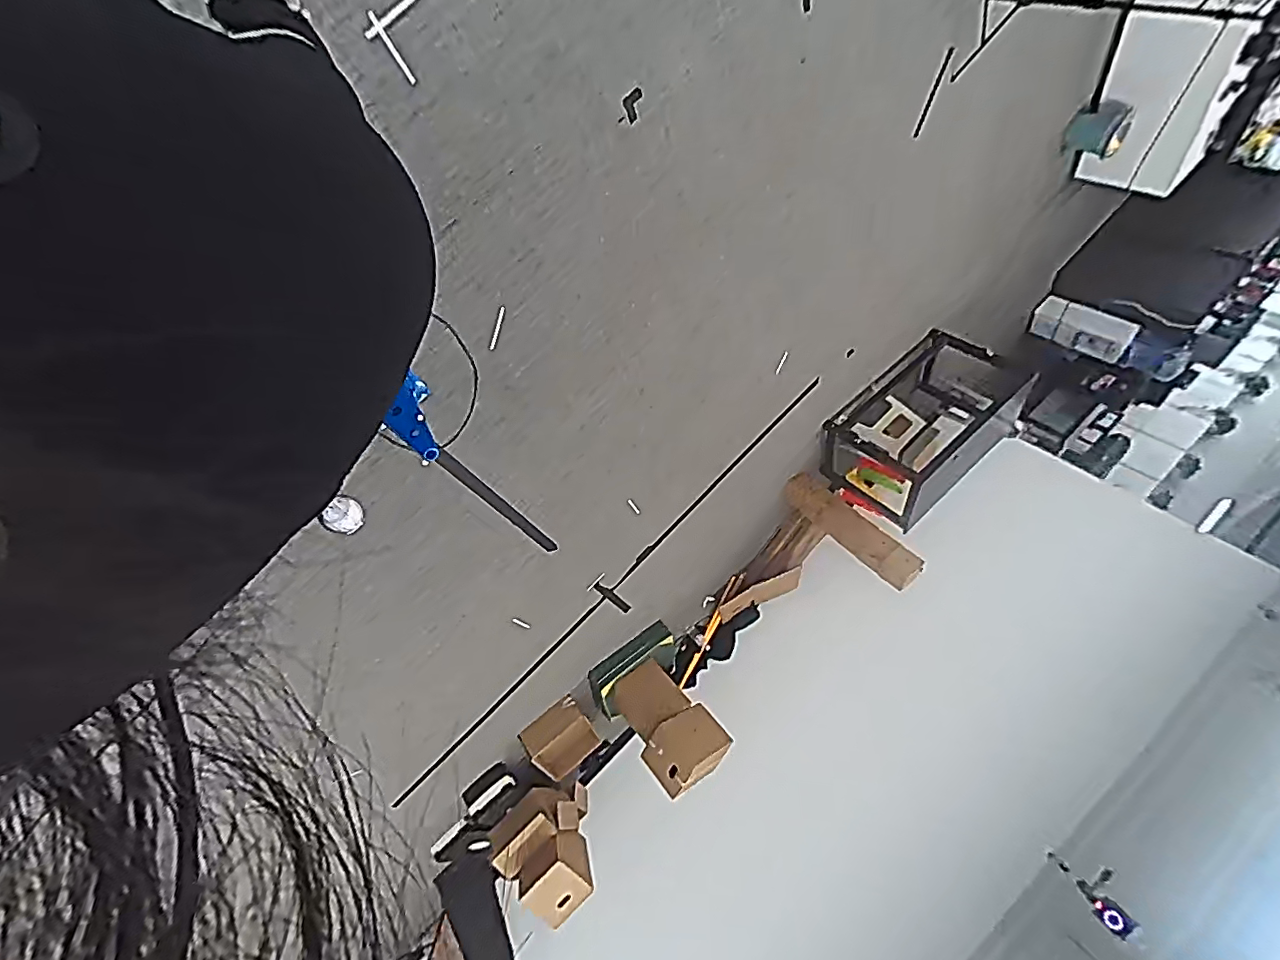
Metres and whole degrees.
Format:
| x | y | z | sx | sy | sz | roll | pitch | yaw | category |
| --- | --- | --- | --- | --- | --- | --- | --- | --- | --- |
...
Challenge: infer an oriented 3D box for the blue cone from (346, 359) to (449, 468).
| x | y | z | sx | sy | sz | roll | pitch | yaw | category |
| --- | --- | --- | --- | --- | --- | --- | --- | --- | --- |
| -0.613 | -0.149 | 1.452 | 0.193 | 0.380 | 0.192 | -44 | 145 | -9 | blue cone |
